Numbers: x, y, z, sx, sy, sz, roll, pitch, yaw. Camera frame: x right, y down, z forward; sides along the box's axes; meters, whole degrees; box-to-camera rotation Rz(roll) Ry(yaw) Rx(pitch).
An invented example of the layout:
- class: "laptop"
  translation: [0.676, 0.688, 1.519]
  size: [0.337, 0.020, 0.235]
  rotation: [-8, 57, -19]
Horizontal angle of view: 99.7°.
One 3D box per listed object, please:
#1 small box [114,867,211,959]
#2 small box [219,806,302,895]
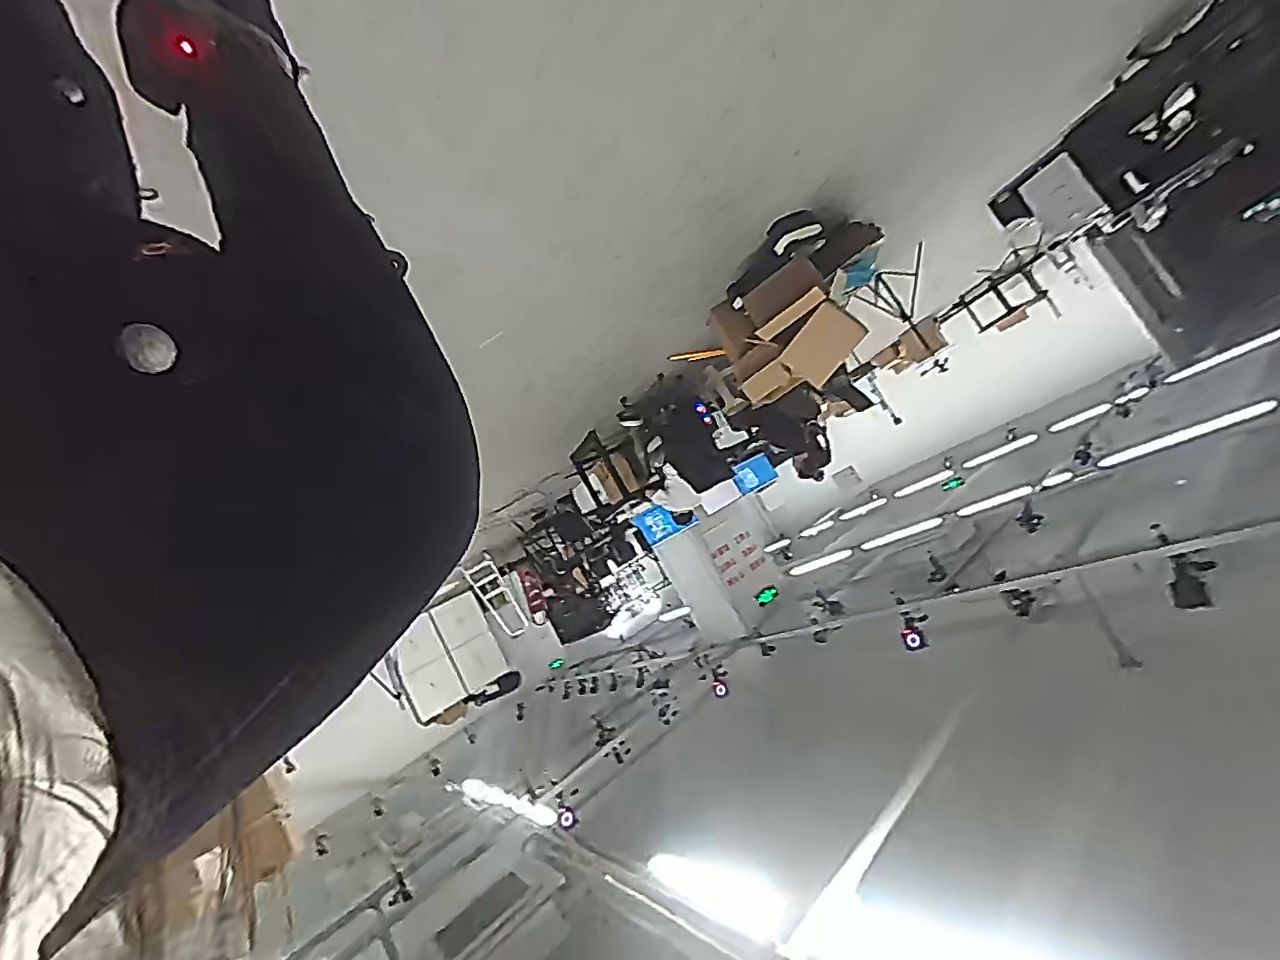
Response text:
- class: "small box"
  translation: [-1.475, 1.350, 1.674]
  size: [0.168, 0.176, 0.179]
  rotation: [-23, 169, -32]
- class: "small box"
  translation: [-1.283, 1.243, 1.829]
  size: [0.168, 0.176, 0.179]
  rotation: [-27, 171, -30]
